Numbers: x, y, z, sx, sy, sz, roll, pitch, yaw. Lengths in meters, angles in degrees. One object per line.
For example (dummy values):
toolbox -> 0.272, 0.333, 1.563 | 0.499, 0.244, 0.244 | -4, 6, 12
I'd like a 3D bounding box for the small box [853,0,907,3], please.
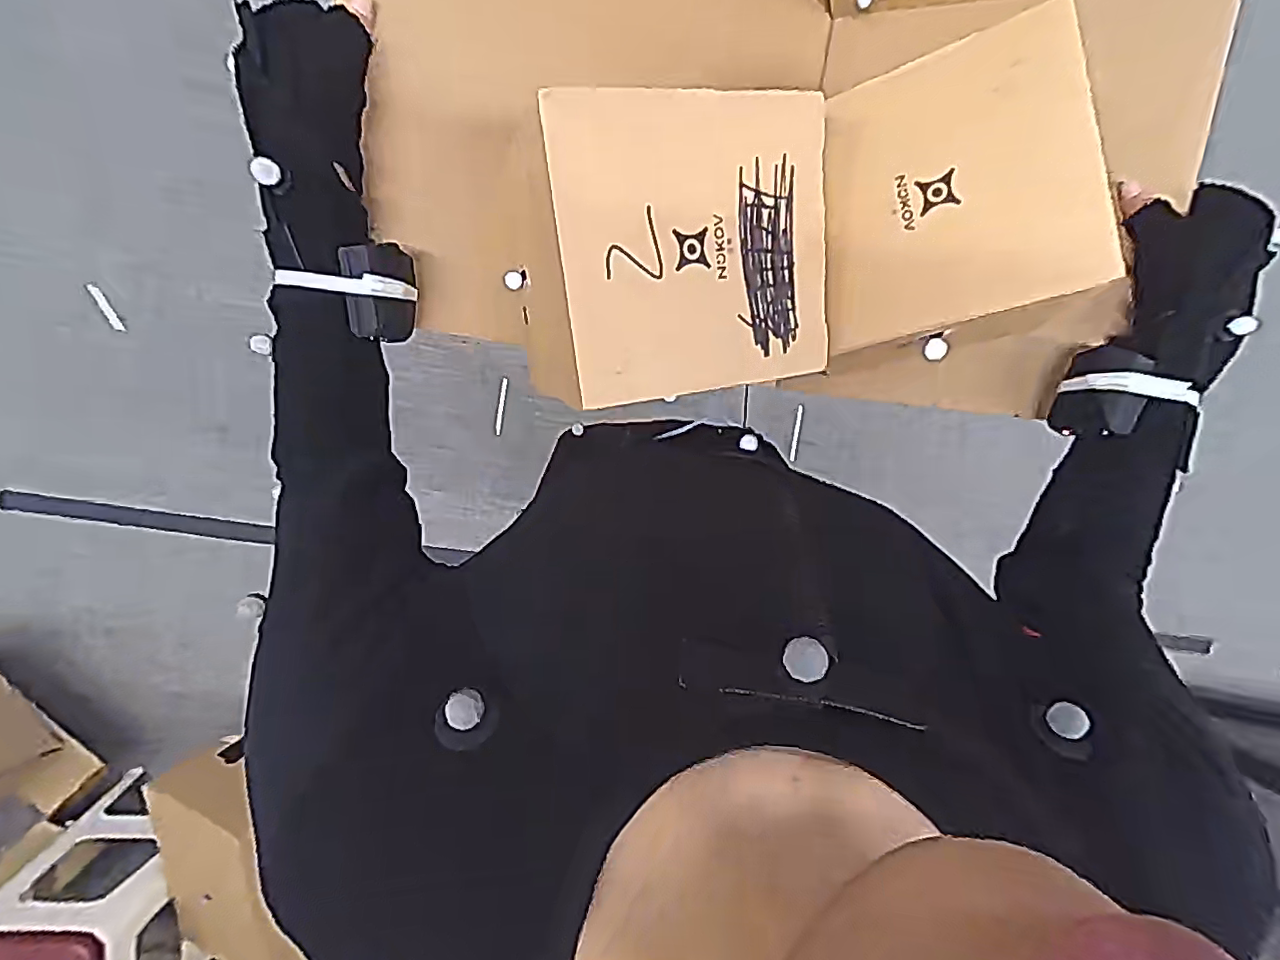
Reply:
small box -> 0.235, -0.491, 0.388 | 0.168, 0.176, 0.179 | 14, 97, 22
